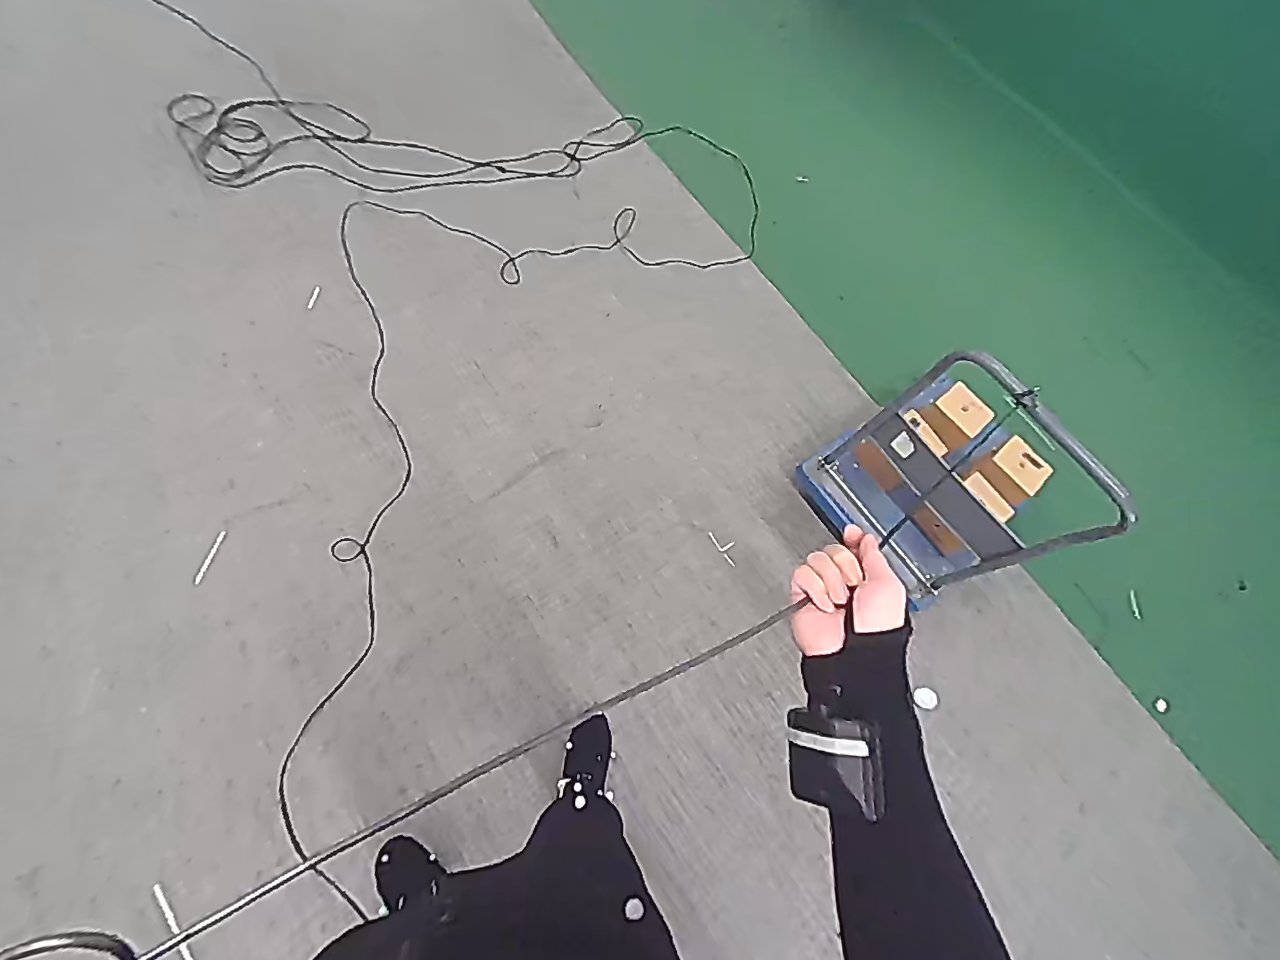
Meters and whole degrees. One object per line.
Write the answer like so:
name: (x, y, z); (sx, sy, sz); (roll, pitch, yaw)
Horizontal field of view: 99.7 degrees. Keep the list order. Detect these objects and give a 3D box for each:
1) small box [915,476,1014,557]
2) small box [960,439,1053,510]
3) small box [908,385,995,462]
small box: (1.022, 0.118, 1.716); (0.179, 0.176, 0.168); (-29, 75, -25)
small box: (1.233, -0.004, 1.832); (0.179, 0.176, 0.168); (-34, 77, -26)
small box: (1.074, -0.192, 1.882); (0.179, 0.176, 0.168); (-34, 78, -27)
